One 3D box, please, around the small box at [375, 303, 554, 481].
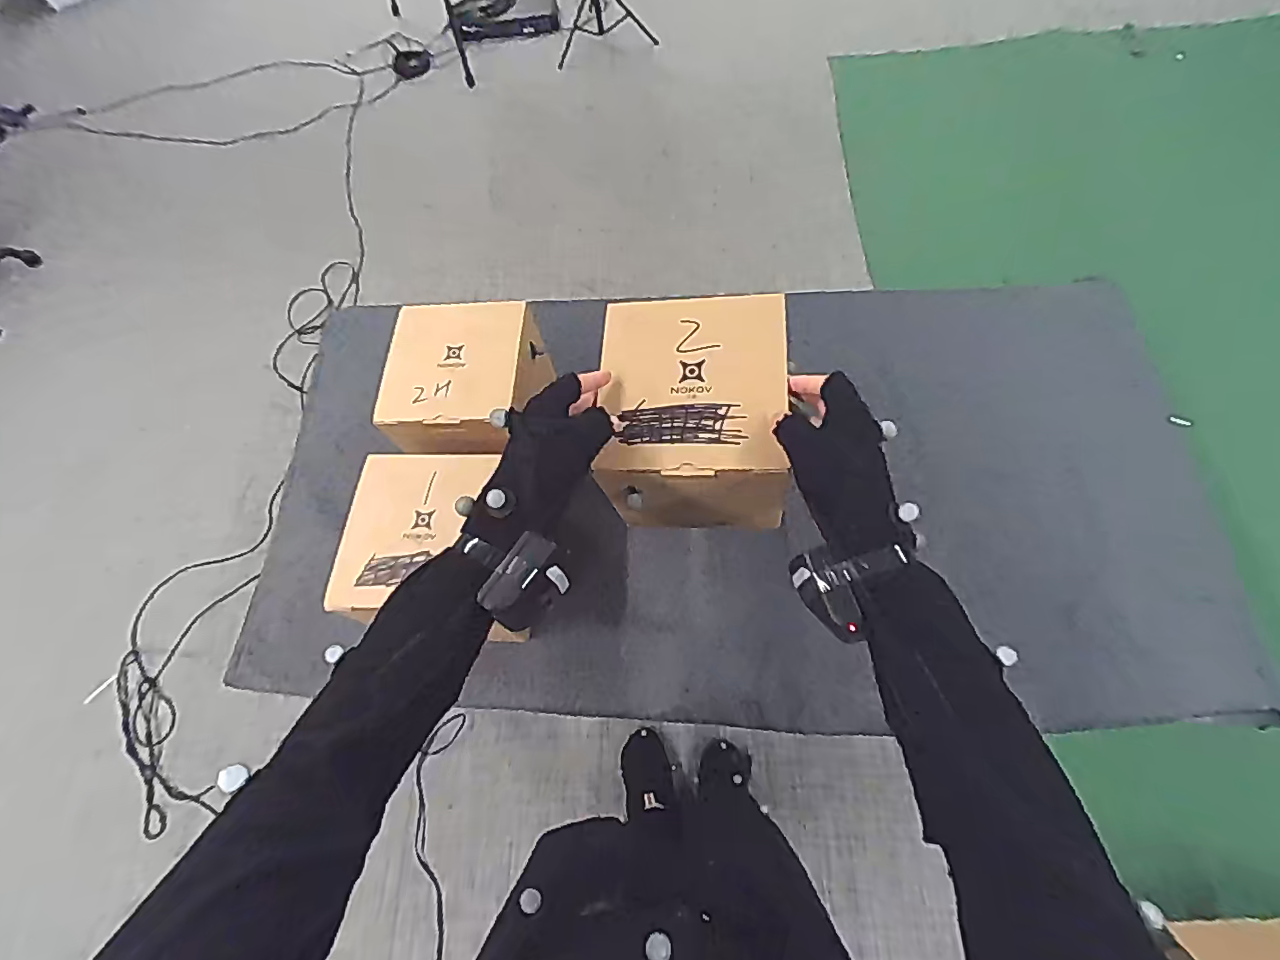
[{"bbox_3d":[-0.217,-0.112,0.725,0.168,0.176,0.179,0,66,5],"label":"small box"}]
